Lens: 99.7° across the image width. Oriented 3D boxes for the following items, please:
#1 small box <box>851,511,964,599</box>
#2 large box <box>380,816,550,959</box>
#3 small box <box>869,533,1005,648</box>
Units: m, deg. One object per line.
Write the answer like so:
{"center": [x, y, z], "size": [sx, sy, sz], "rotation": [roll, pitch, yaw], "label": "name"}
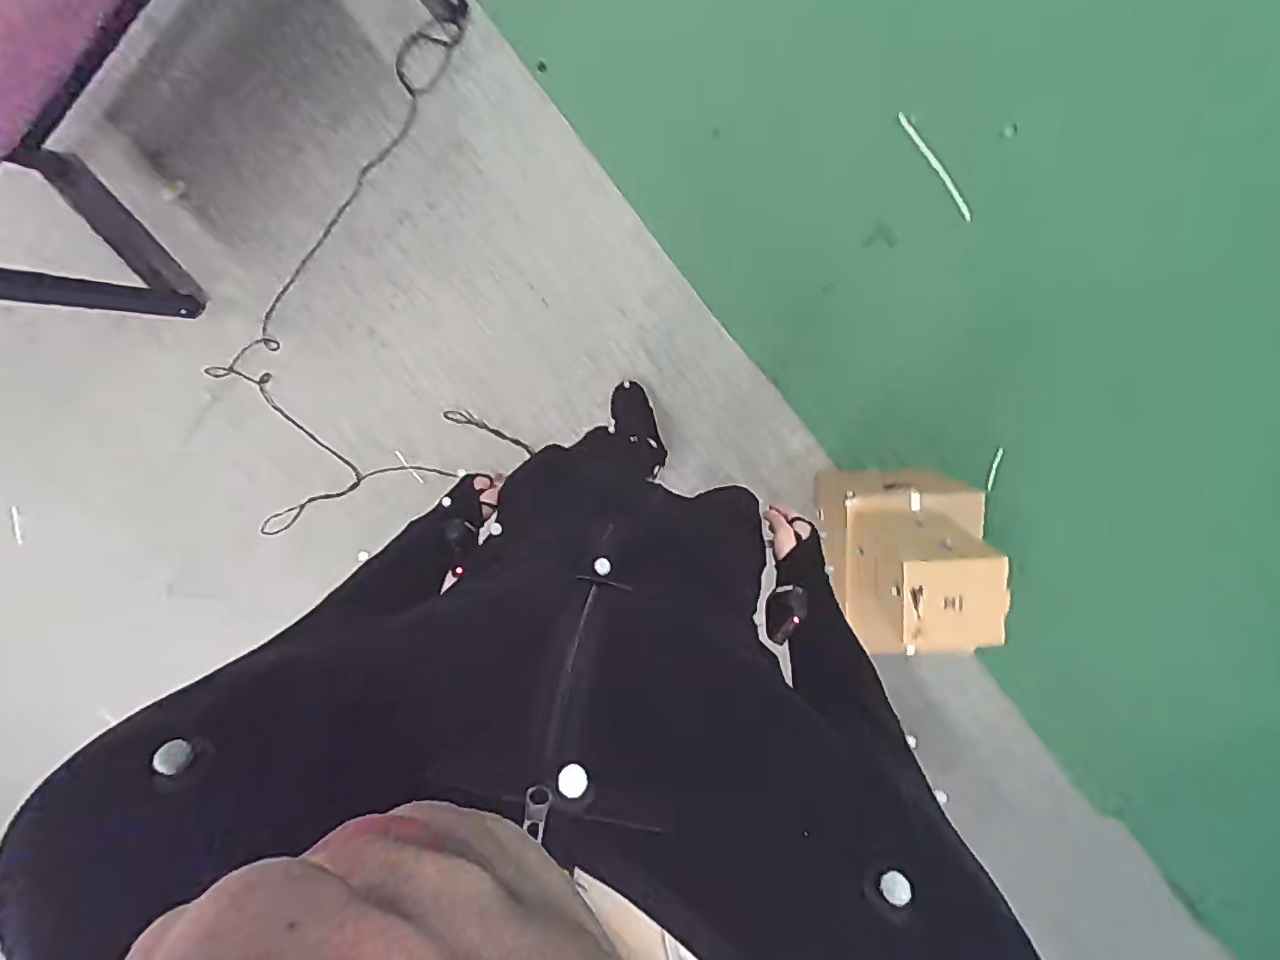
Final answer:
{"center": [0.584, 0.169, 1.199], "size": [0.179, 0.176, 0.168], "rotation": [-3, 102, 6], "label": "small box"}
{"center": [-0.558, 1.393, 1.795], "size": [0.408, 0.320, 0.320], "rotation": [-15, 101, 6], "label": "large box"}
{"center": [0.560, 0.205, 1.040], "size": [0.179, 0.176, 0.168], "rotation": [-4, 102, 5], "label": "small box"}
